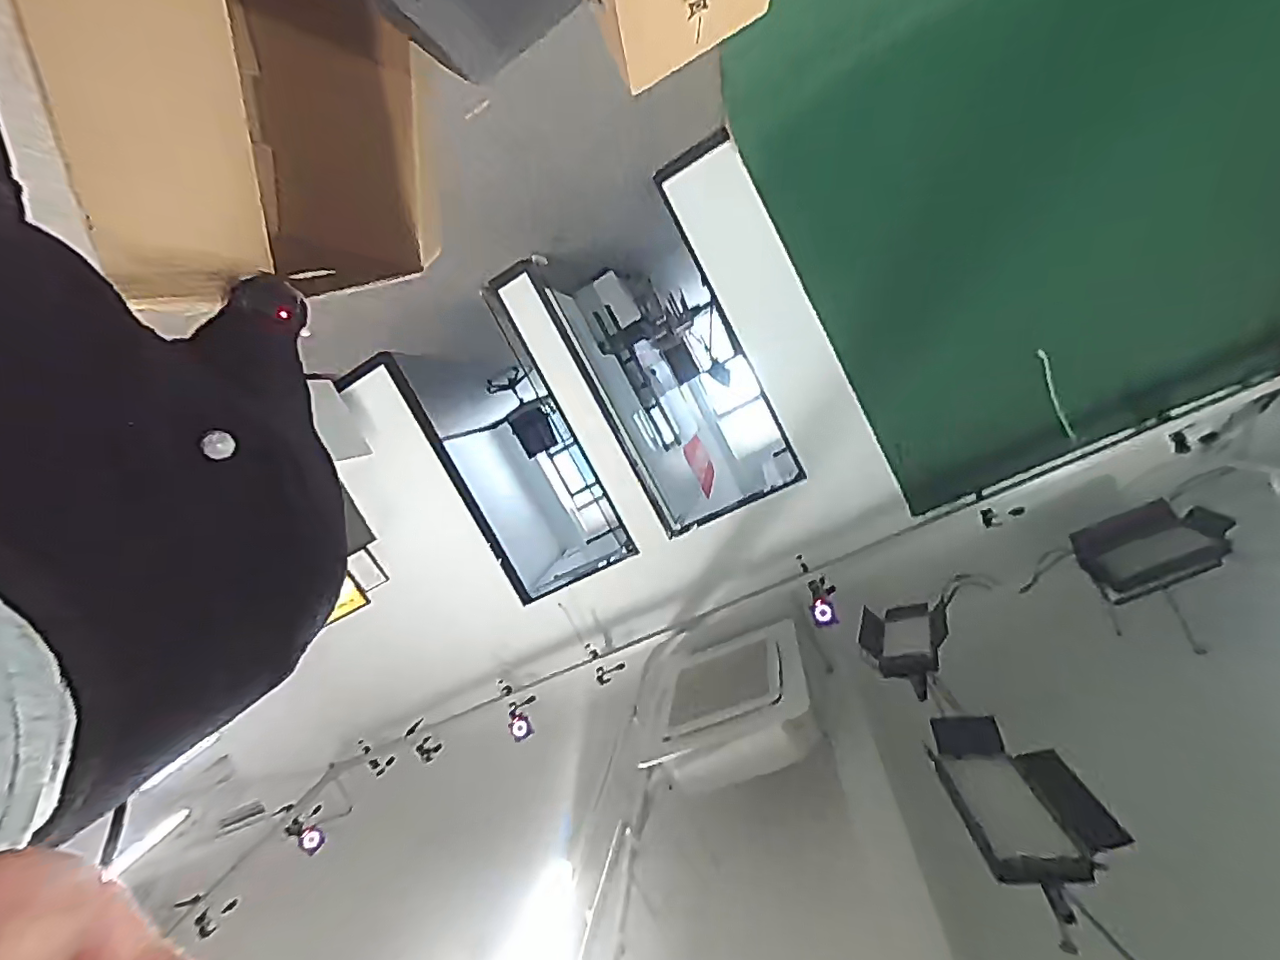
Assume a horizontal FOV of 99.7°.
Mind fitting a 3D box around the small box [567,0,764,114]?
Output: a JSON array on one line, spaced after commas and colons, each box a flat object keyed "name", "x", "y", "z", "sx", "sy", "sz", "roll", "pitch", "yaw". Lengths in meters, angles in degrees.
[{"name": "small box", "x": 0.009, "y": -0.503, "z": 0.500, "sx": 0.168, "sy": 0.176, "sz": 0.179, "roll": -28, "pitch": -175, "yaw": 8}]
